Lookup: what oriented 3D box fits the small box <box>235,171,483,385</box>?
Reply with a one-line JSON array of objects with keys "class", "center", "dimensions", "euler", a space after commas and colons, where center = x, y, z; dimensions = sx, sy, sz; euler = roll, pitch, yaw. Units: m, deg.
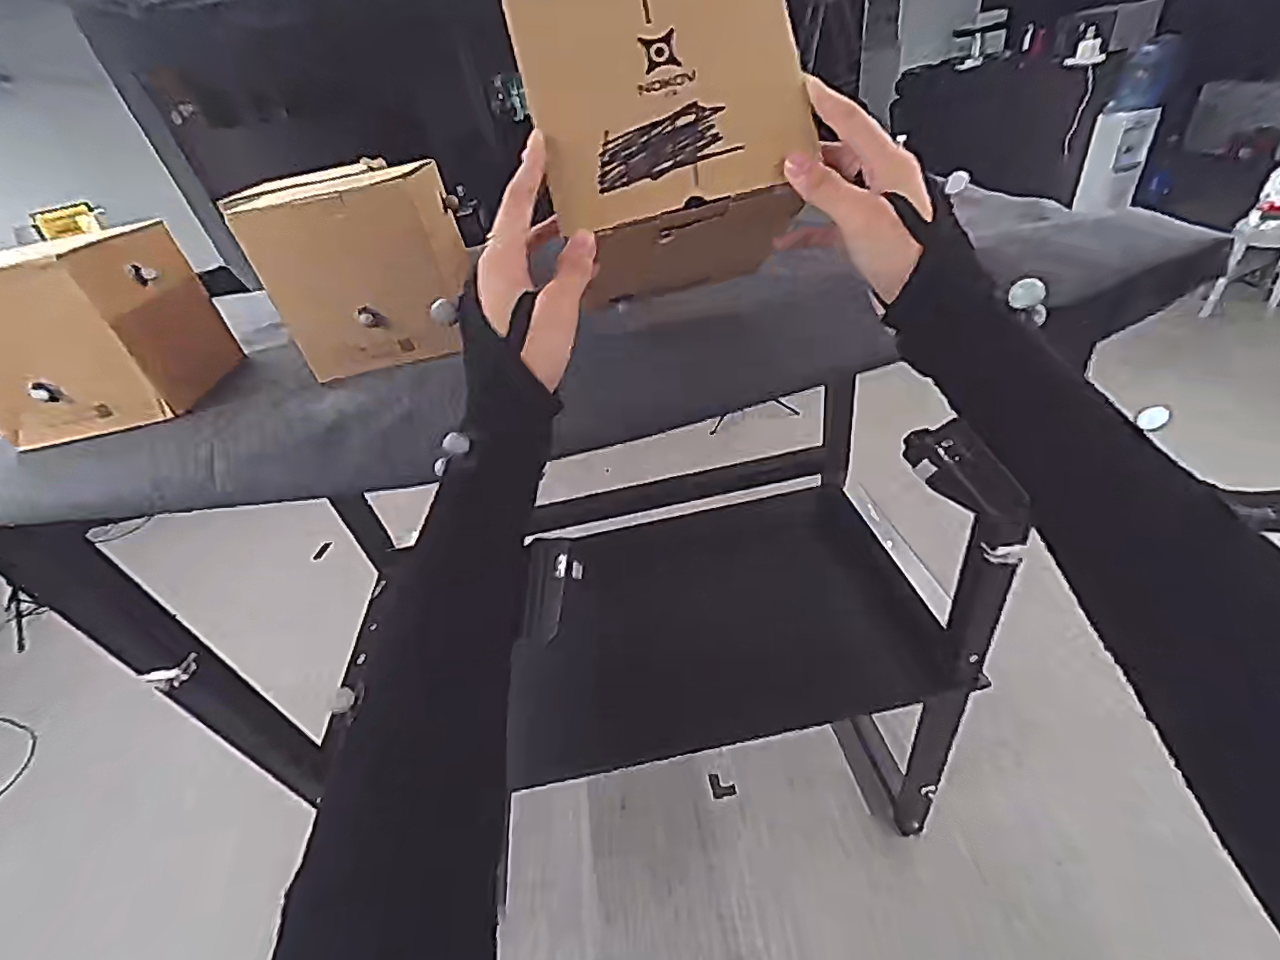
[{"class": "small box", "center": [-0.283, -0.225, 0.598], "dimensions": [0.168, 0.176, 0.179], "euler": [-13, 36, -2]}]

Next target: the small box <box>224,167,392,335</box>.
[{"class": "small box", "center": [-0.423, -0.326, 0.769], "dimensions": [0.179, 0.176, 0.168], "euler": [-13, 37, -3]}]

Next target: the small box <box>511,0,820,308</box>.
[{"class": "small box", "center": [0.016, -0.246, 0.415], "dimensions": [0.168, 0.179, 0.176], "euler": [-14, 1, -1]}]

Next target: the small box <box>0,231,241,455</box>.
[{"class": "small box", "center": [-0.580, -0.150, 0.582], "dimensions": [0.168, 0.176, 0.179], "euler": [-13, 36, -3]}]
